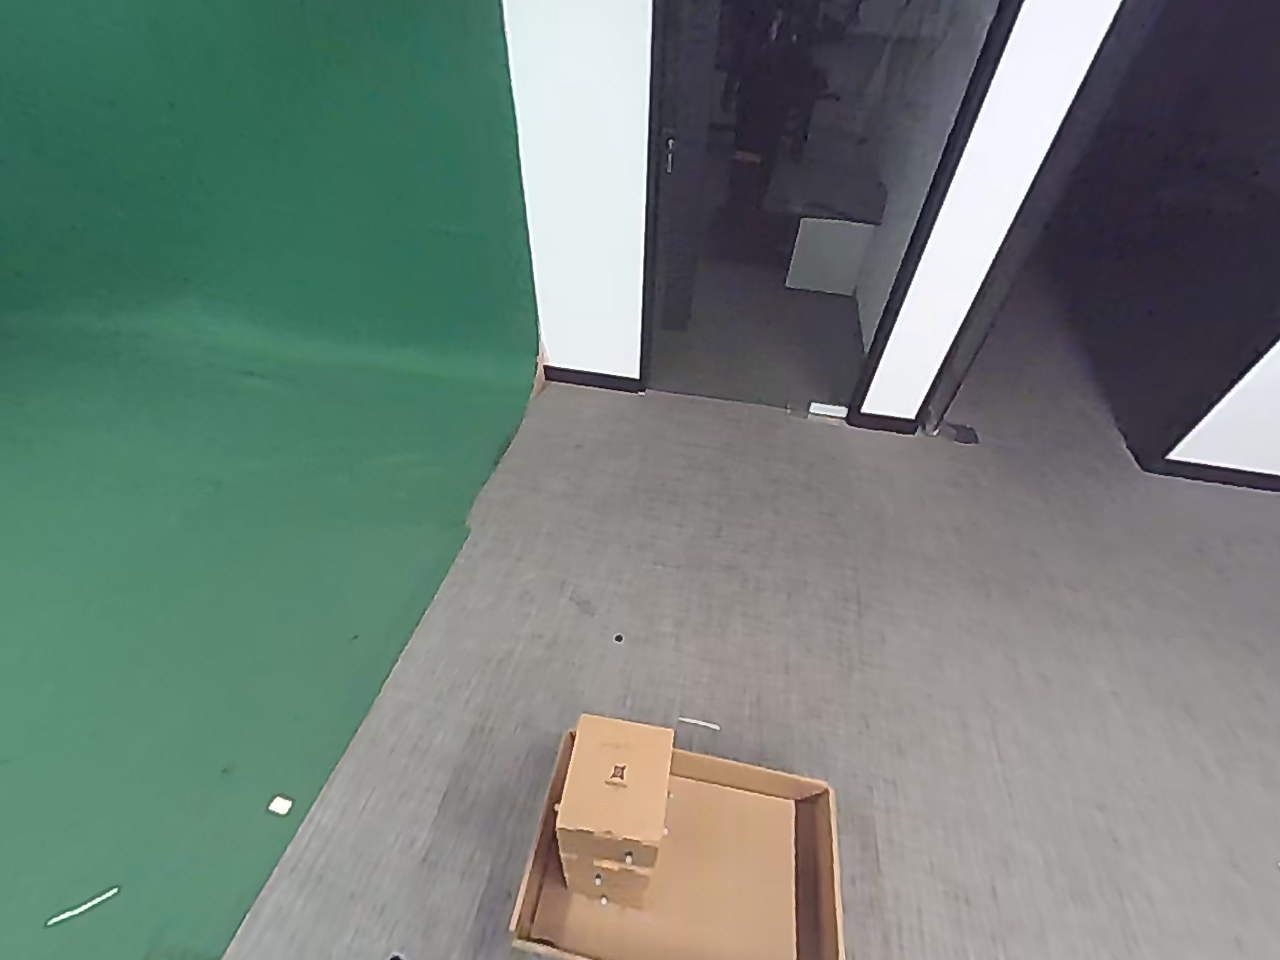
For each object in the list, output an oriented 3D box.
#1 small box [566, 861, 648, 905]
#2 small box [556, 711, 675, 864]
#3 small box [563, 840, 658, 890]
[{"bbox_3d":[-0.053,0.765,1.147,0.168,0.176,0.179,10,45,7],"label":"small box"},{"bbox_3d":[-0.038,0.527,0.924,0.168,0.176,0.179,9,45,4],"label":"small box"},{"bbox_3d":[-0.044,0.648,1.034,0.168,0.176,0.179,10,45,6],"label":"small box"}]
